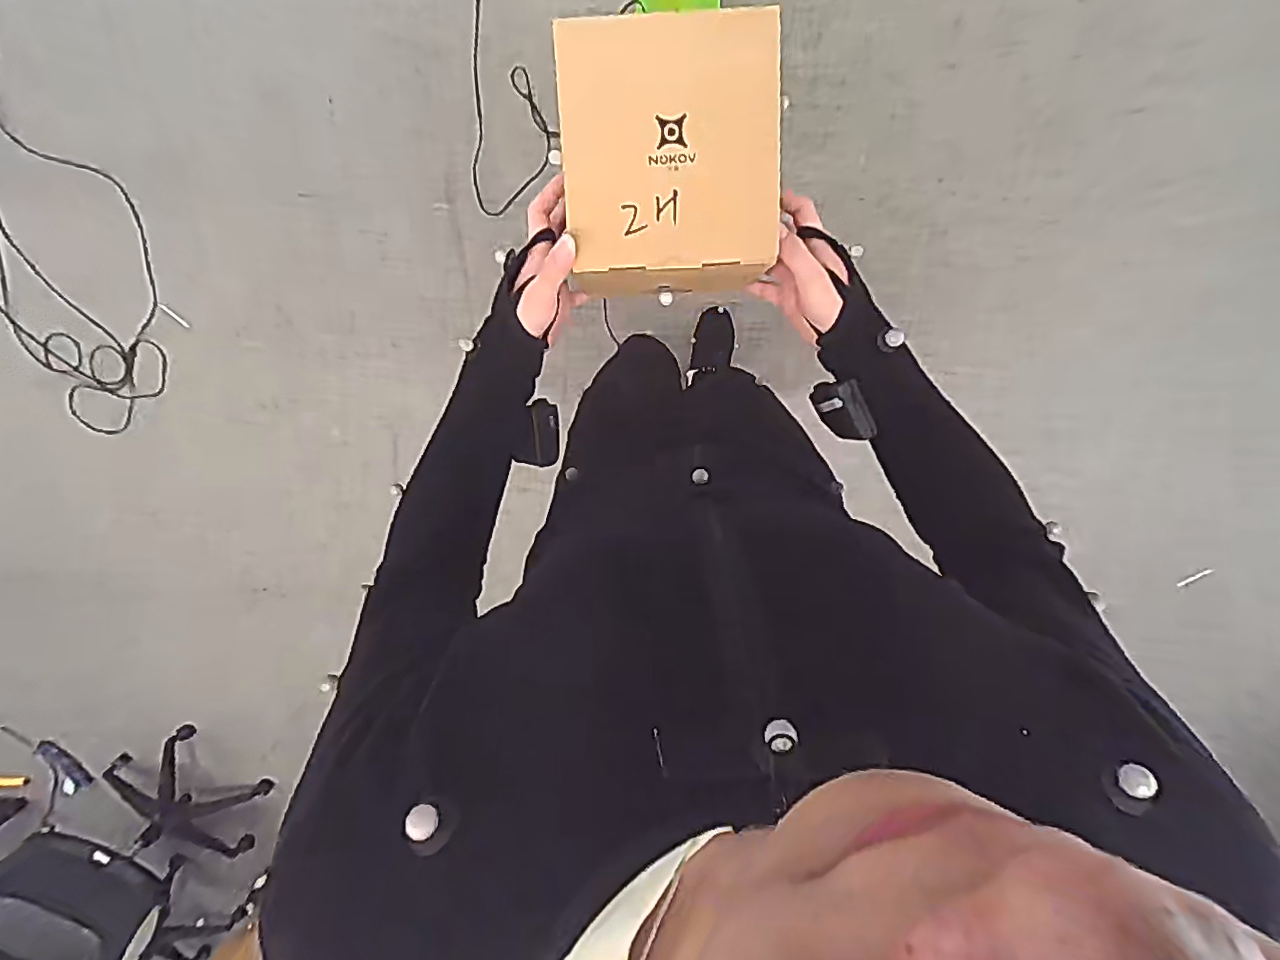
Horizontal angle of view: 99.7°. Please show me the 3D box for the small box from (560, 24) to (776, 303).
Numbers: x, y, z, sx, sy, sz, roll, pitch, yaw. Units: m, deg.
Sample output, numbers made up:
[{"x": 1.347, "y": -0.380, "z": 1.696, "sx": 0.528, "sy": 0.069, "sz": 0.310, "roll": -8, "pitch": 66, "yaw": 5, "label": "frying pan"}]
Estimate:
[{"x": 0.022, "y": -0.266, "z": 0.496, "sx": 0.168, "sy": 0.176, "sz": 0.179, "roll": -2, "pitch": 101, "yaw": 1, "label": "small box"}]
